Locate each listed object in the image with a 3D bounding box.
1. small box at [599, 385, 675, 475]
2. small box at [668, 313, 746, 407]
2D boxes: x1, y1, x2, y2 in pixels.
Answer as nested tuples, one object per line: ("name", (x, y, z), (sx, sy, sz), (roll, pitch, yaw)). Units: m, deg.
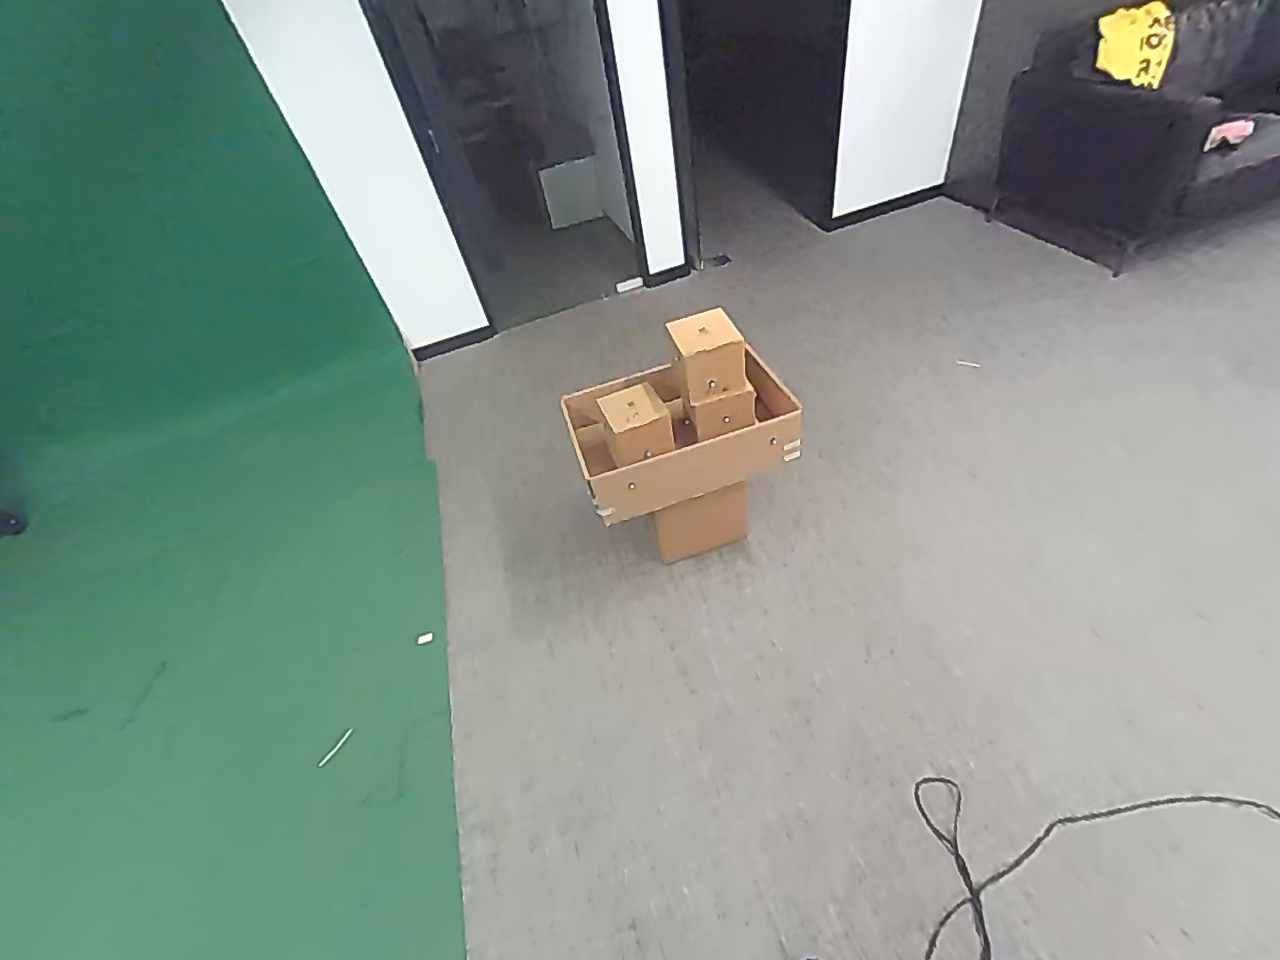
("small box", (-0.007, -0.144, 1.585), (0.168, 0.176, 0.179), (-20, 46, -8))
("small box", (0.186, -0.331, 1.497), (0.168, 0.176, 0.179), (-17, 45, -3))
